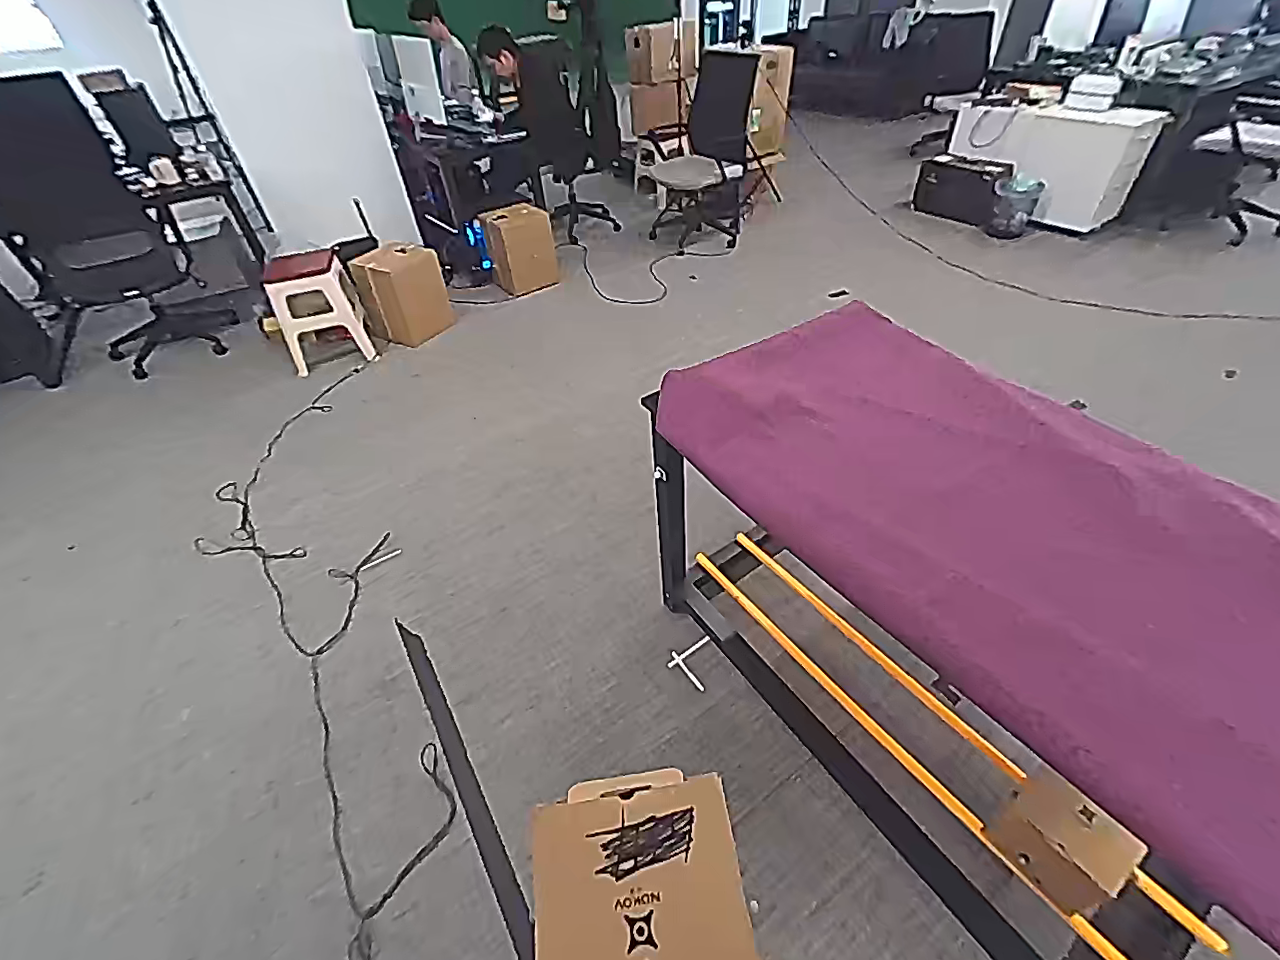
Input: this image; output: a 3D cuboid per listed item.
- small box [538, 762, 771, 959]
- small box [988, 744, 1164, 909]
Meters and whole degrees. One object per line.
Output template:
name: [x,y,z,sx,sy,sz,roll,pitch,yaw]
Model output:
small box: [0.012,0.375,0.471,0.168,0.176,0.179,-12,49,-3]
small box: [0.779,0.631,0.986,0.179,0.176,0.168,-29,47,-21]
